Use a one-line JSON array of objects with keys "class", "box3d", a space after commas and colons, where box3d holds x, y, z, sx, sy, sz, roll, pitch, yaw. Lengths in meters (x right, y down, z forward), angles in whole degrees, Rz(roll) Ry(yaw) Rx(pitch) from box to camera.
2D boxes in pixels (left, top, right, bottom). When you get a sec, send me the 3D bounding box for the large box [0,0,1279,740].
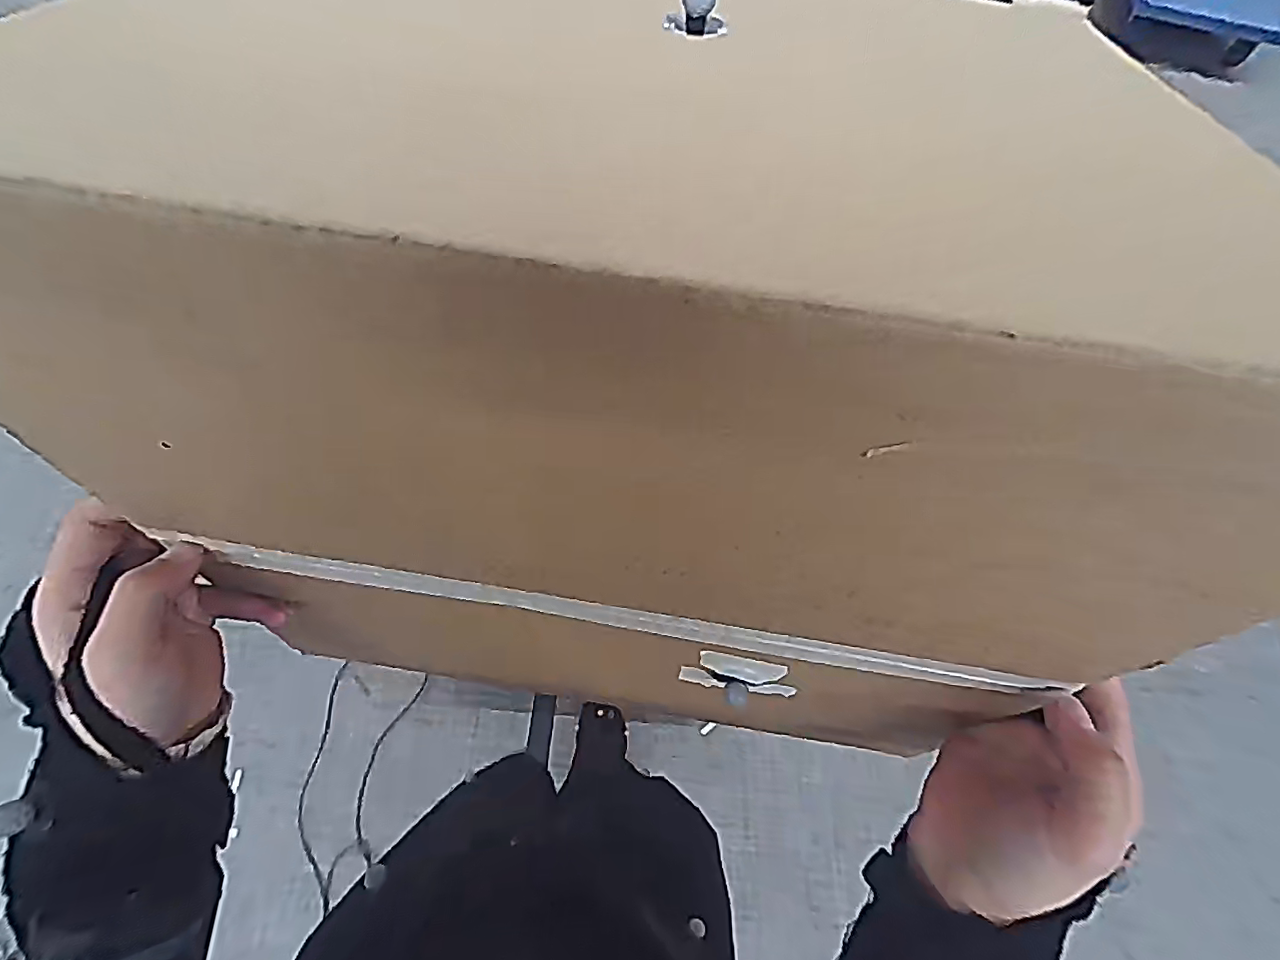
[{"class": "large box", "box3d": [0.005, -0.066, 0.333, 0.408, 0.320, 0.320, 8, 54, 1]}]
